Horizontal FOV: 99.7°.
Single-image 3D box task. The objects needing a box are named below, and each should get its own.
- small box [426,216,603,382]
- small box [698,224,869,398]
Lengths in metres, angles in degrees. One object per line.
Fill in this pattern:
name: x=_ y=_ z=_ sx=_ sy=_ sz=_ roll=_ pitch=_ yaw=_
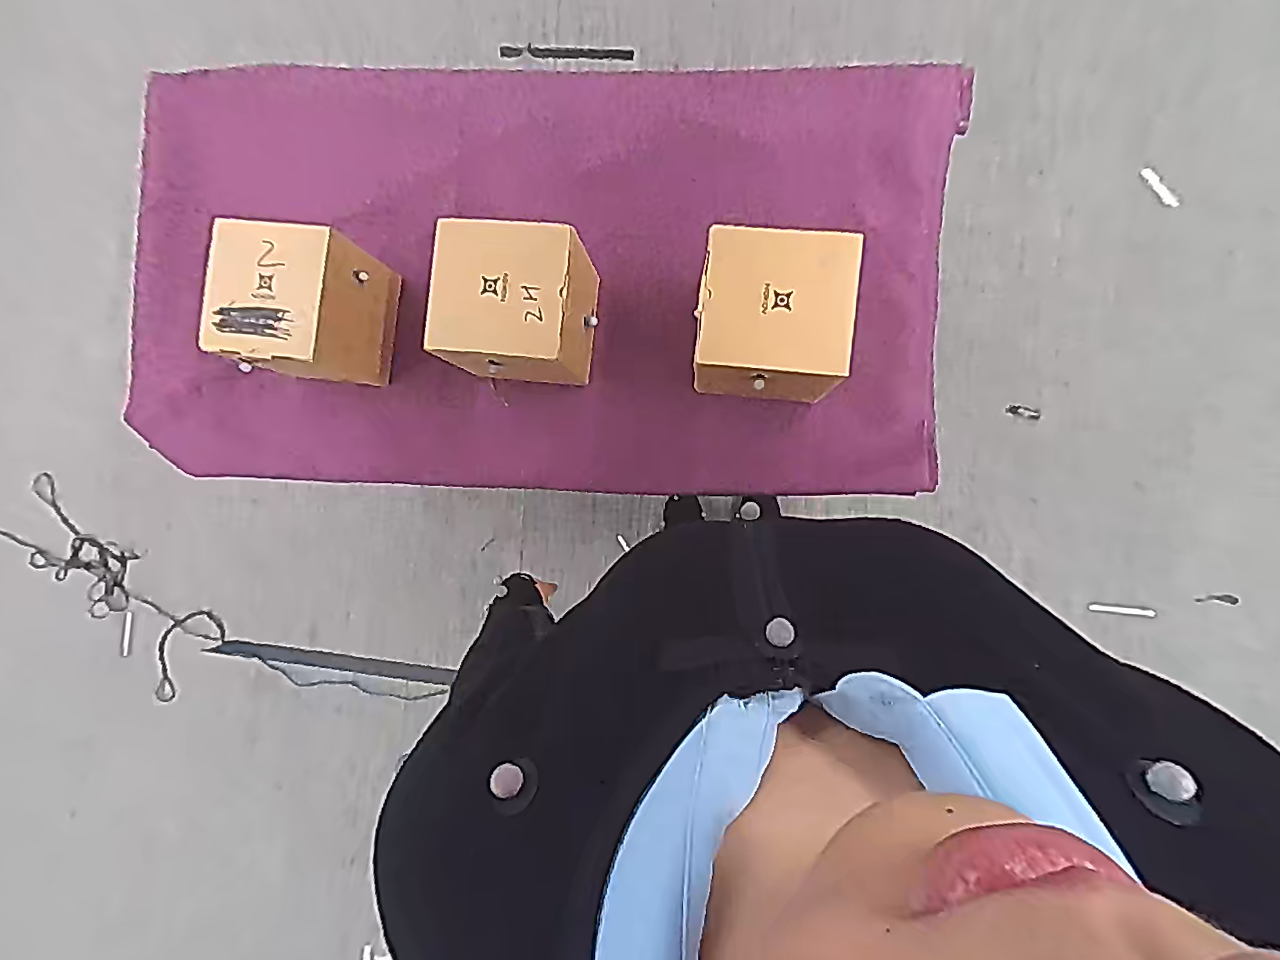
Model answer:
small box: x=-0.160 y=-0.234 z=0.735 sx=0.179 sy=0.176 sz=0.168 roll=6 pitch=90 yaw=7
small box: x=0.172 y=-0.204 z=0.696 sx=0.179 sy=0.176 sz=0.168 roll=7 pitch=89 yaw=8
